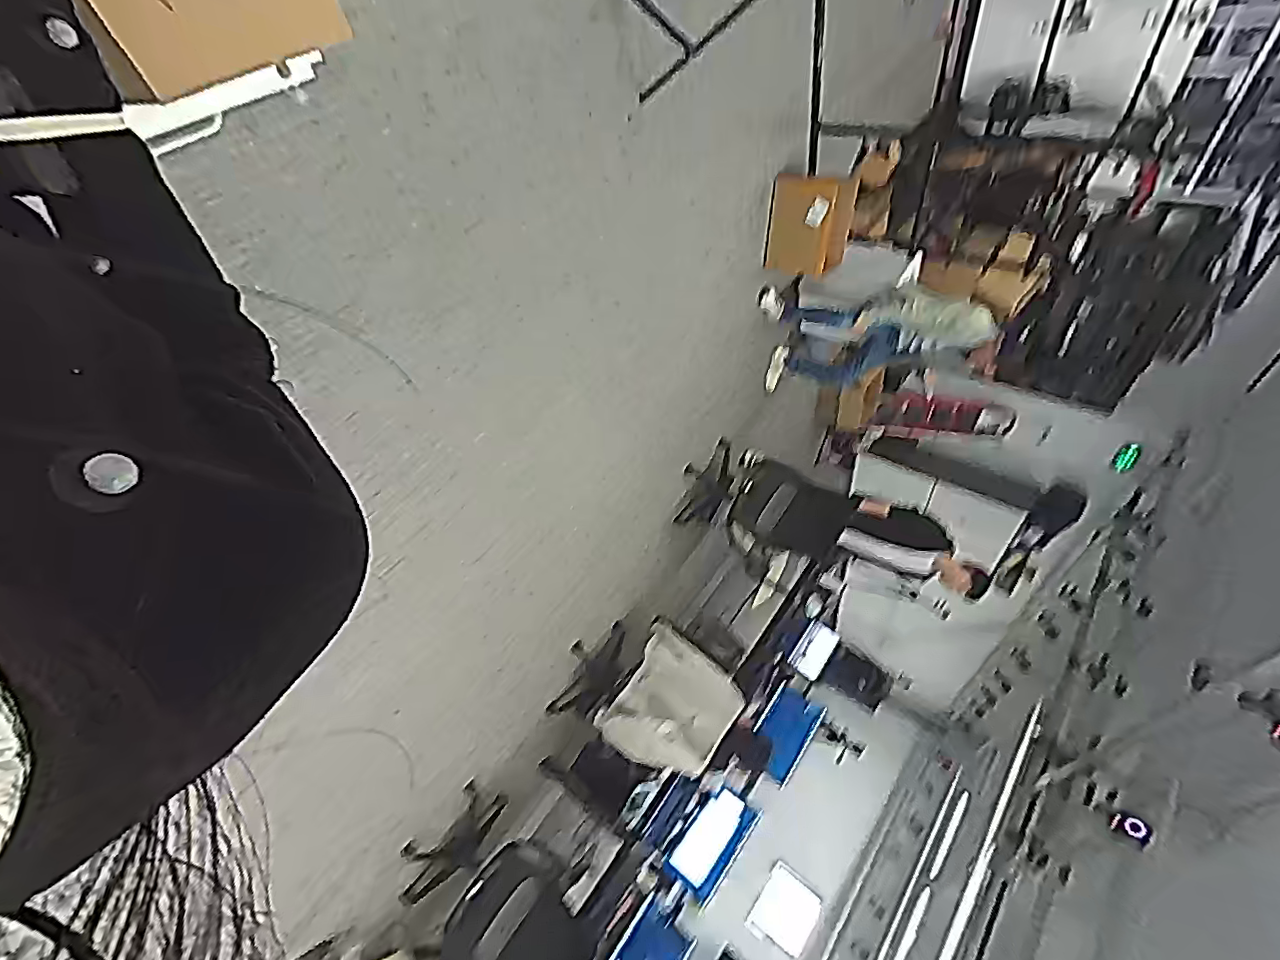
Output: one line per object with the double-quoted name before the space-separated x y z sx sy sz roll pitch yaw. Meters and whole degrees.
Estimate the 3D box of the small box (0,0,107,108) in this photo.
"small box" -0.516 -0.469 0.508 0.179 0.176 0.168 -46 143 -26

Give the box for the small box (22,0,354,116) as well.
"small box" -0.383 -0.415 0.430 0.179 0.176 0.168 -47 143 -26
